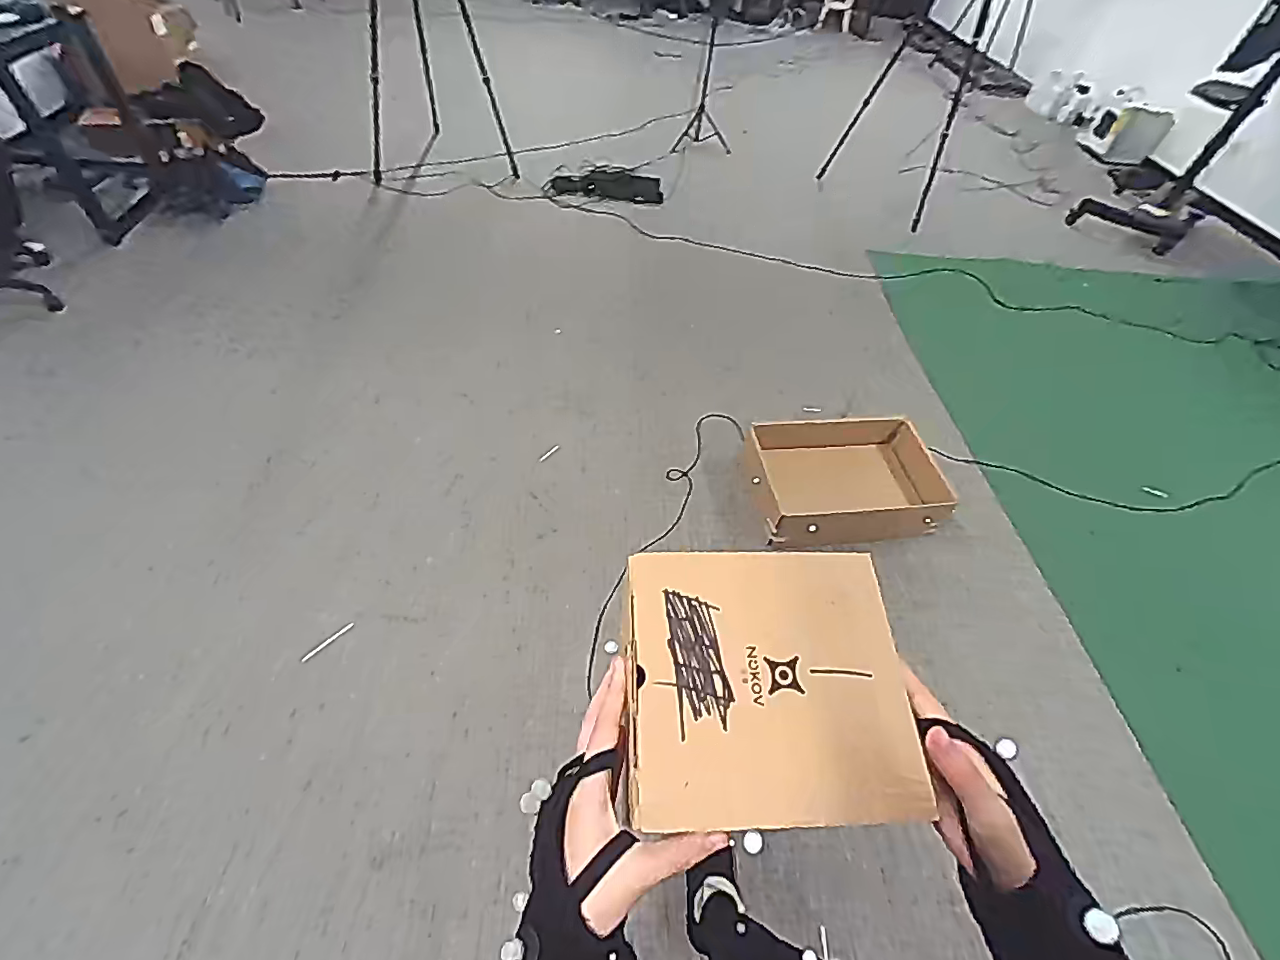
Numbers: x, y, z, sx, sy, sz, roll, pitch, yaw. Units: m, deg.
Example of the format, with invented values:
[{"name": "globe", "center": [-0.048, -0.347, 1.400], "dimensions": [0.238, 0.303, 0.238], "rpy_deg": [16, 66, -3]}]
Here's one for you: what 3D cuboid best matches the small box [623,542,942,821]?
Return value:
[{"name": "small box", "center": [0.077, 0.158, 0.407], "dimensions": [0.179, 0.176, 0.168], "rpy_deg": [2, 58, -5]}]
